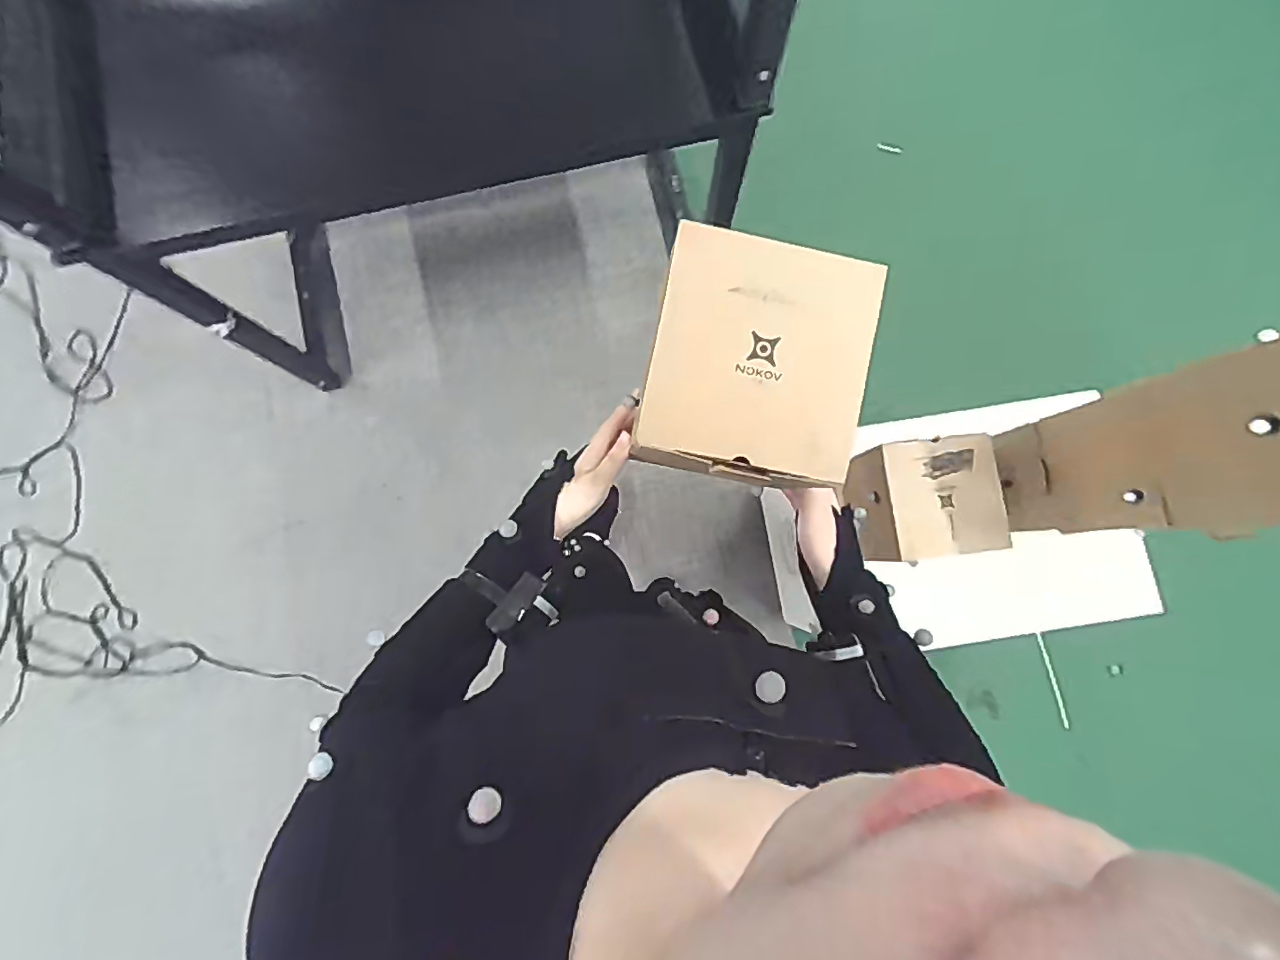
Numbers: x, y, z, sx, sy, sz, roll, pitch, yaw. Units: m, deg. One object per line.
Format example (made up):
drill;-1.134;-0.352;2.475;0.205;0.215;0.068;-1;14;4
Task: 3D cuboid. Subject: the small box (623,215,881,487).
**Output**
small box;0.080;-0.093;0.474;0.168;0.176;0.179;10;88;-4

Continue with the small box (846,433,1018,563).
small box;0.440;0.036;0.846;0.168;0.176;0.179;-6;82;-2

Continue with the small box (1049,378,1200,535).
small box;0.670;-0.026;0.692;0.168;0.176;0.179;-5;82;-1

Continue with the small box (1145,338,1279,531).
small box;0.663;-0.054;0.530;0.168;0.176;0.179;-13;83;0
